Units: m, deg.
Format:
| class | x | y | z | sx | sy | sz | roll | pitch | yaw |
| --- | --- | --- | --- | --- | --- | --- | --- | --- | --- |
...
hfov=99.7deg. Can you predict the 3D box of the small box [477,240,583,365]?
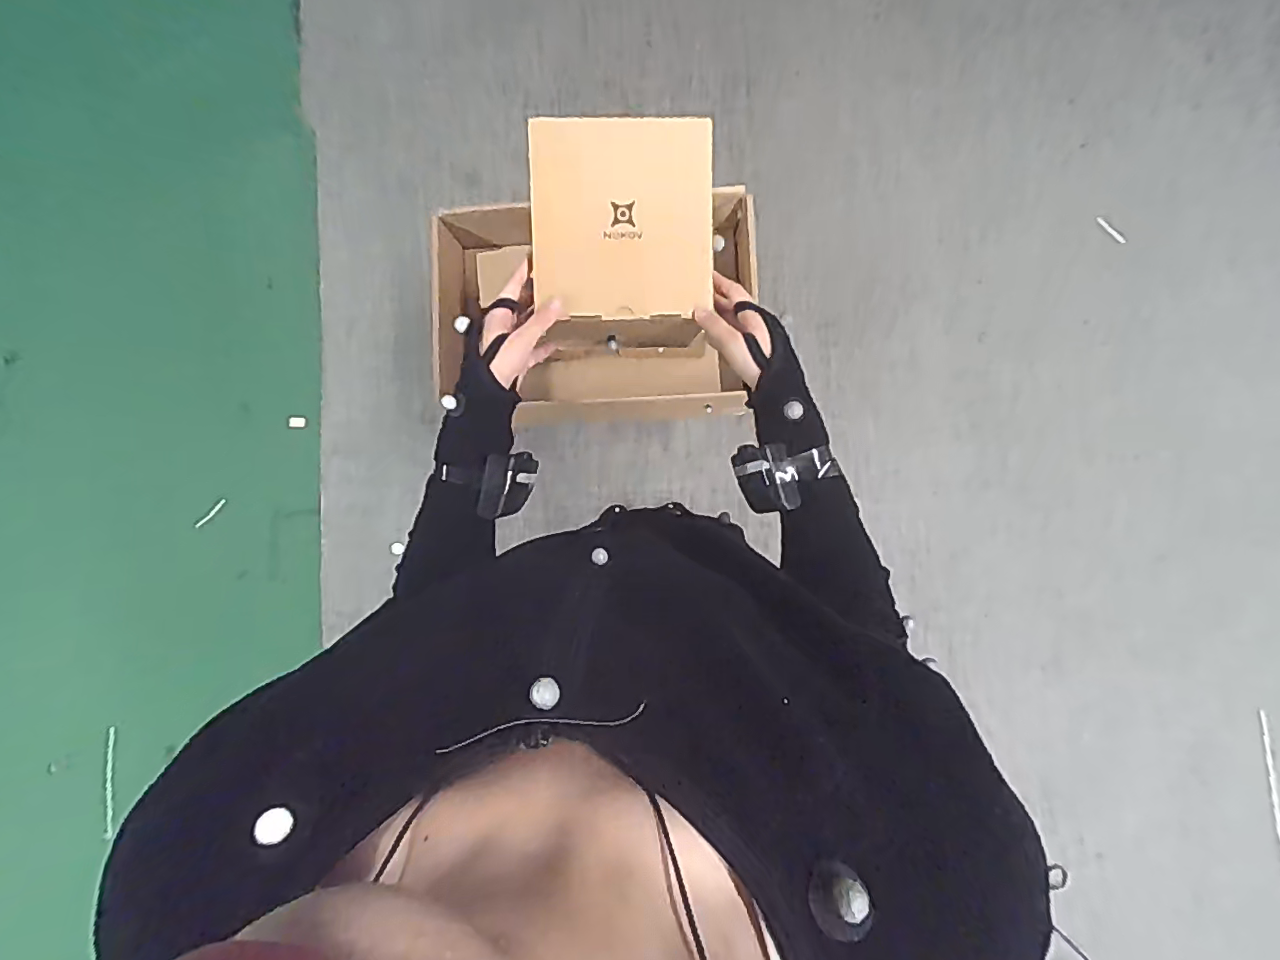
| class | x | y | z | sx | sy | sz | roll | pitch | yaw |
| --- | --- | --- | --- | --- | --- | --- | --- | --- | --- |
| small box | -0.209 | -0.340 | 1.063 | 0.168 | 0.176 | 0.179 | -6 | 86 | 3 |
